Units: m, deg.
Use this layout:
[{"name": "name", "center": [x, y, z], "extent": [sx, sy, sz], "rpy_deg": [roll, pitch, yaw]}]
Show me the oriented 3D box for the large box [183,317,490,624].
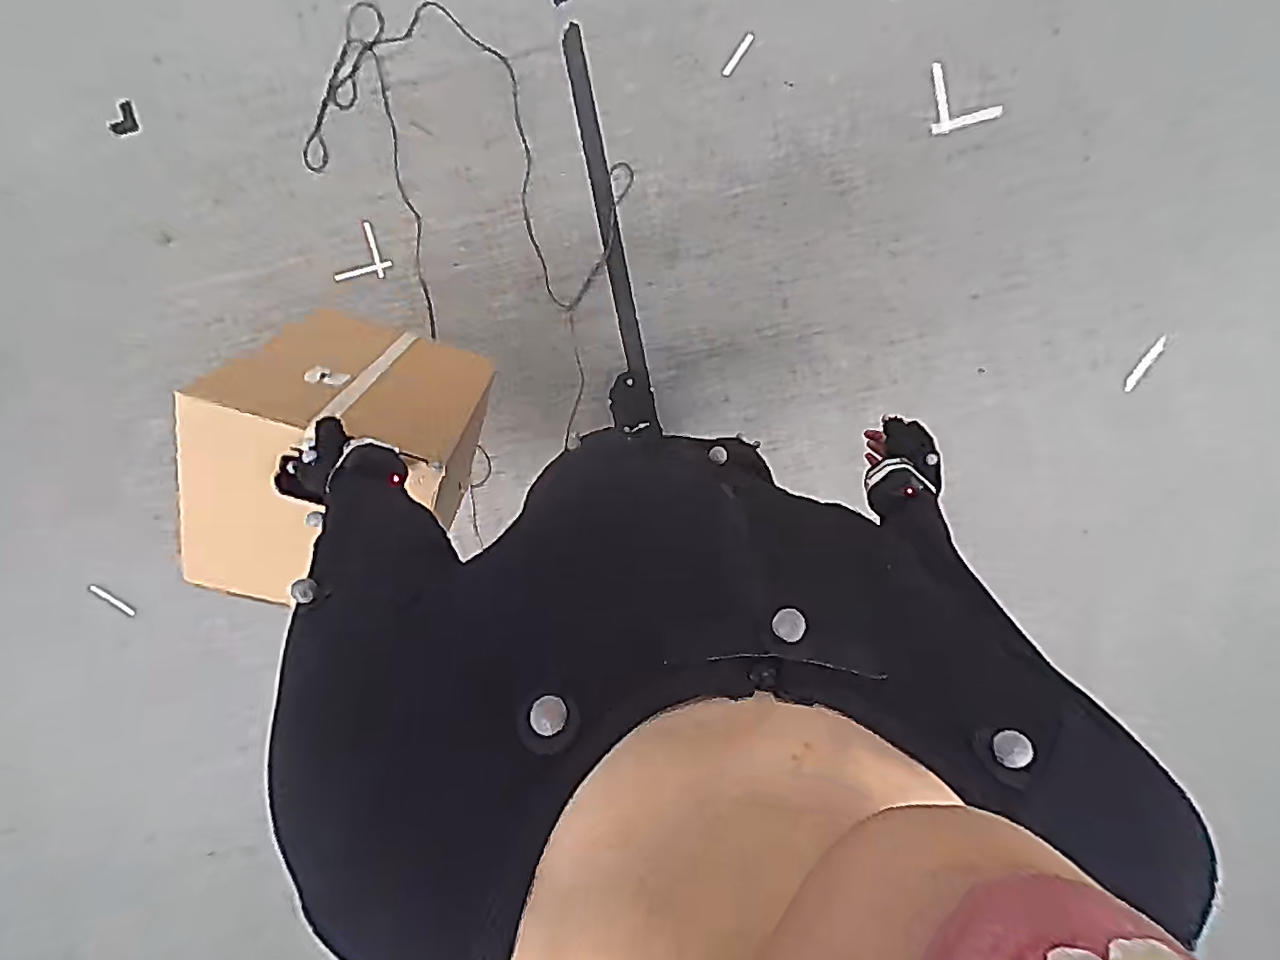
[{"name": "large box", "center": [-0.472, -0.032, 0.921], "extent": [0.320, 0.408, 0.320], "rpy_deg": [15, 120, -12]}]
